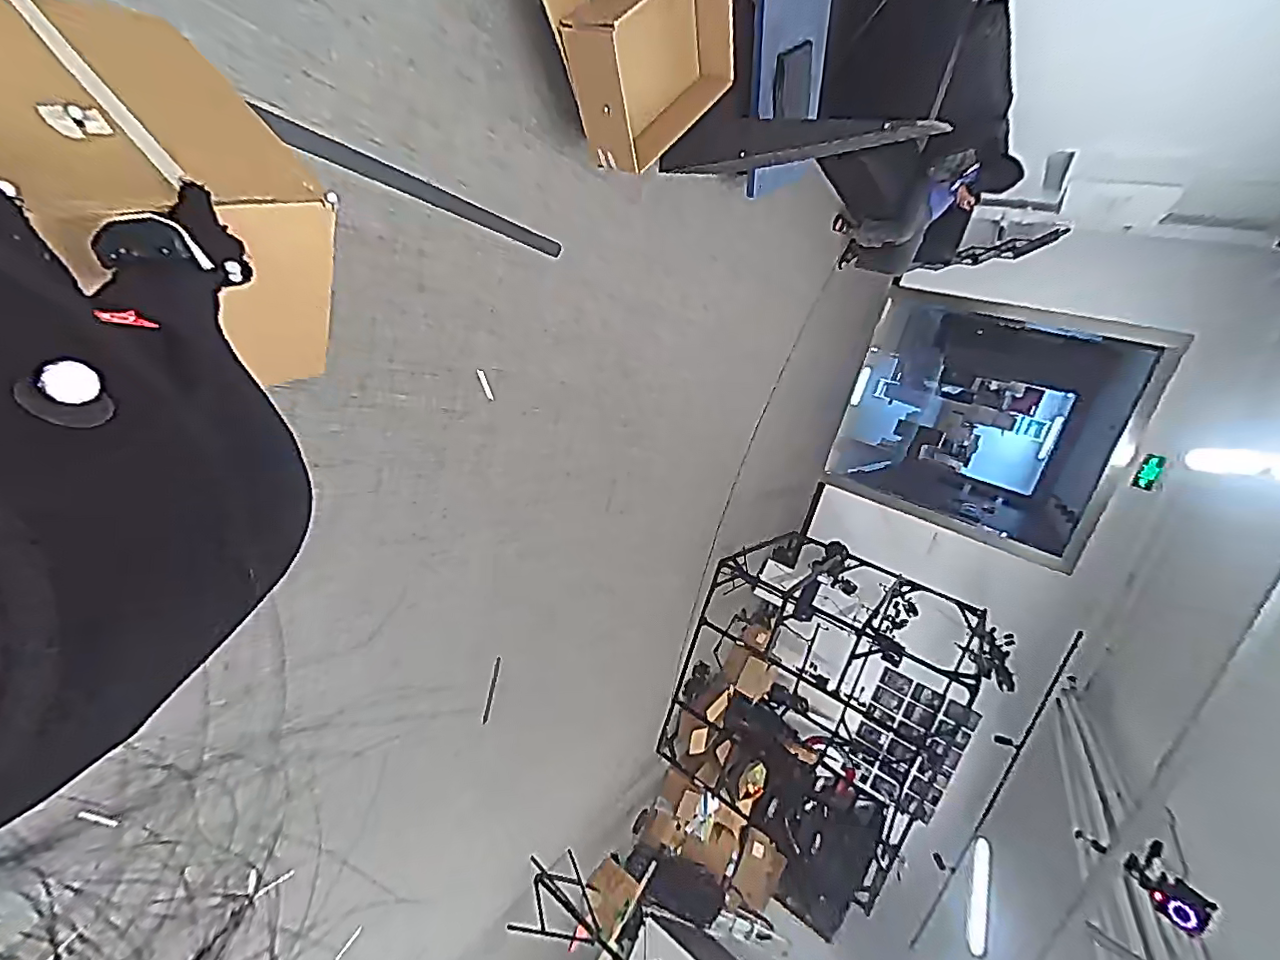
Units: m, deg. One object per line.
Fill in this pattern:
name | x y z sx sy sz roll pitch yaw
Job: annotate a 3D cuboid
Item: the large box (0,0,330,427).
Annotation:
large box | -0.691 -0.349 0.721 0.320 0.408 0.320 -36 170 -44
